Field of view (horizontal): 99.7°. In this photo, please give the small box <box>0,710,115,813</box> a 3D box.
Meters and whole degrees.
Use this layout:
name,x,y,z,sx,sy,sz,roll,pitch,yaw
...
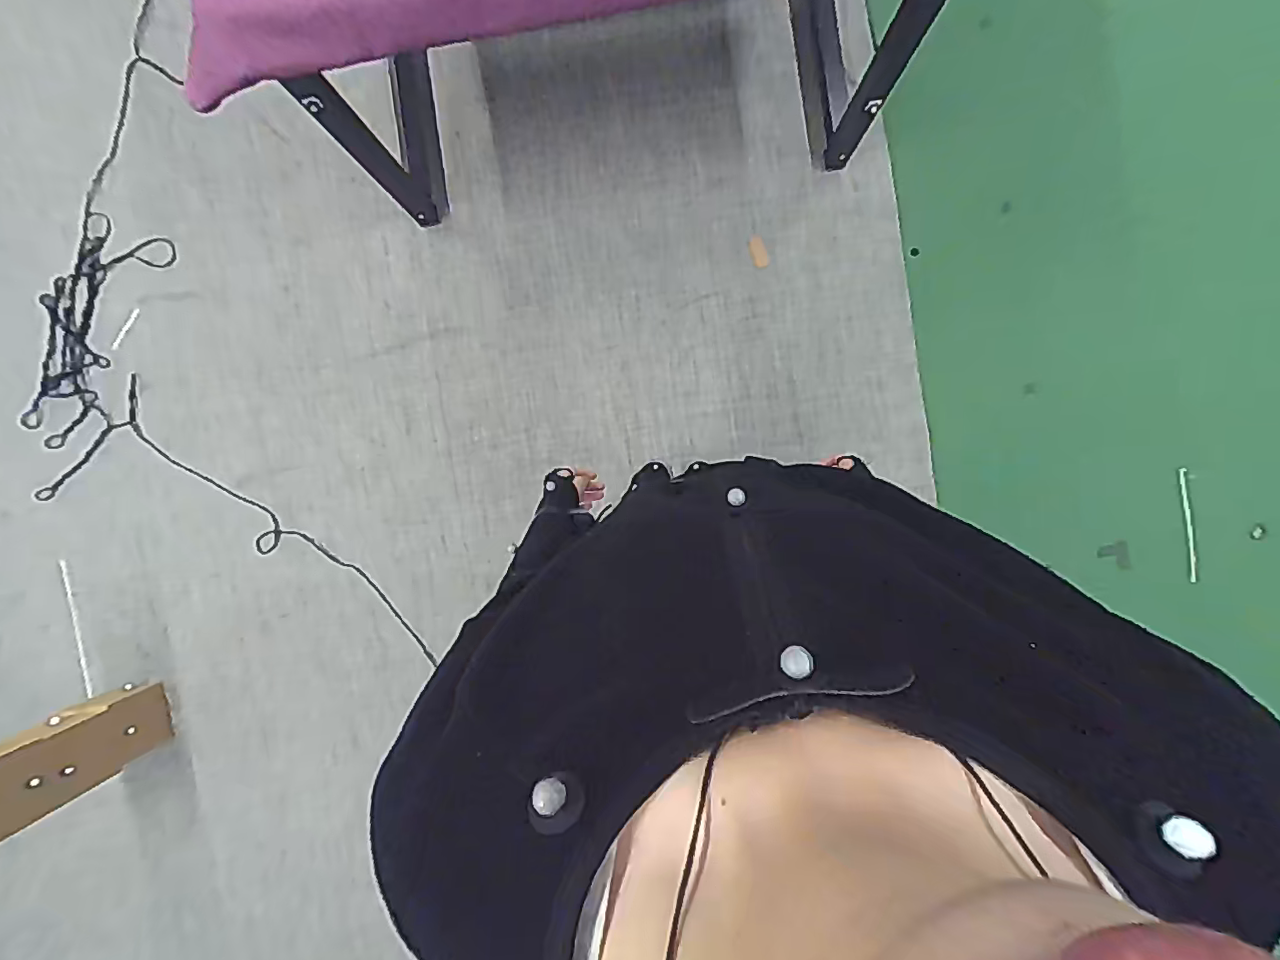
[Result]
name,x,y,z,sx,sy,sz,roll,pitch,yaw
small box,-1.467,0.700,1.342,0.168,0.176,0.179,-10,91,1

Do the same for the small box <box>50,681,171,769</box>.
name,x,y,z,sx,sy,sz,roll,pitch,yaw
small box,-1.463,0.686,1.505,0.168,0.176,0.179,-10,91,2

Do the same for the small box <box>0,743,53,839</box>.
name,x,y,z,sx,sy,sz,roll,pitch,yaw
small box,-1.459,0.698,1.178,0.168,0.176,0.179,-12,91,2
